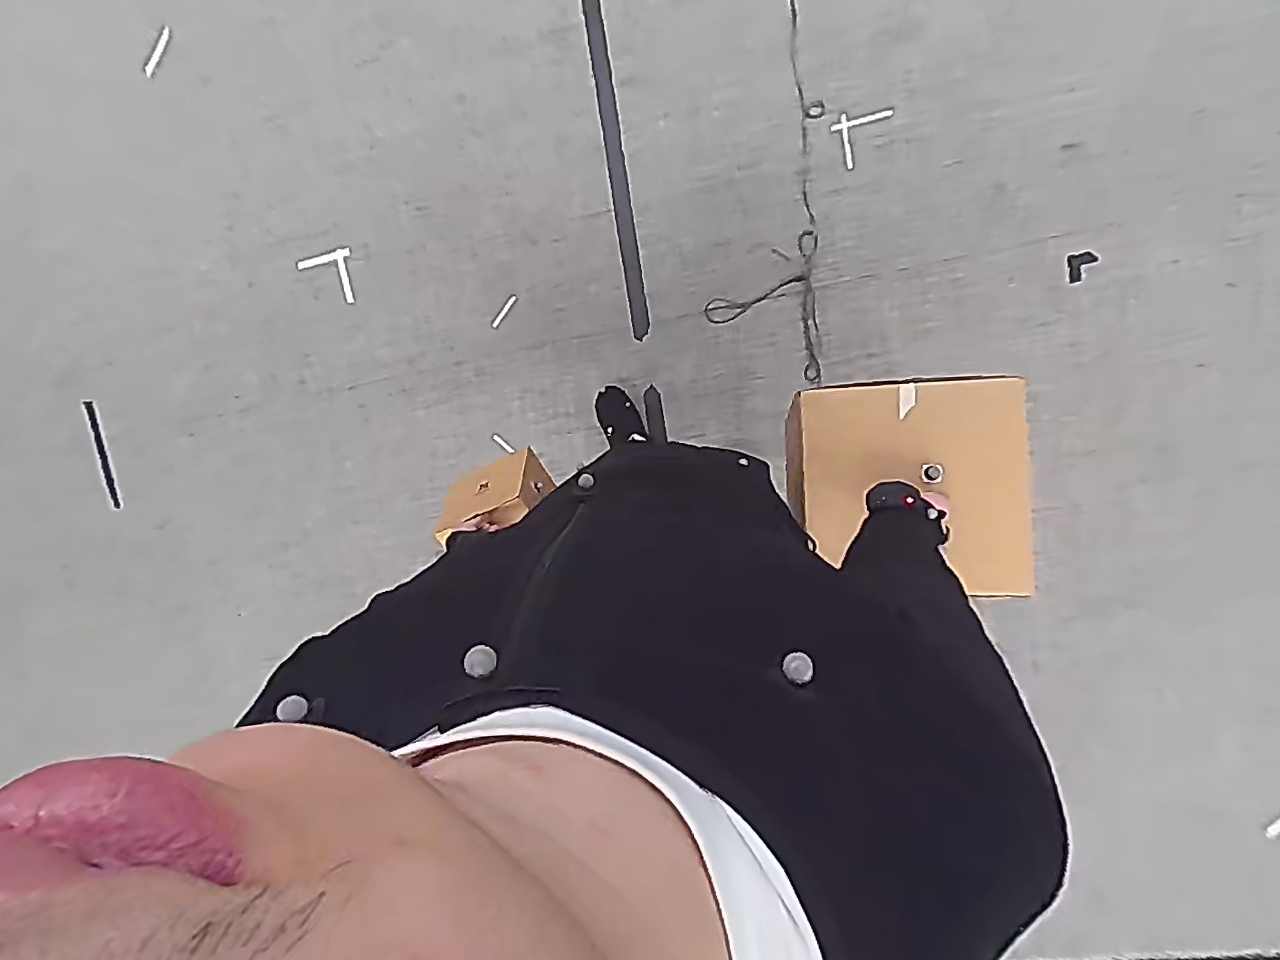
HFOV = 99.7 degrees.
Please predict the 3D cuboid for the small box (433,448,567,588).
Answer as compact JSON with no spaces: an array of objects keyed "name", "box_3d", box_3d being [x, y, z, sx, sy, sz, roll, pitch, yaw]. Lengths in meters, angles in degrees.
[{"name":"small box","box_3d":[-0.245,0.076,0.996,0.168,0.179,0.176,-23,121,8]}]
